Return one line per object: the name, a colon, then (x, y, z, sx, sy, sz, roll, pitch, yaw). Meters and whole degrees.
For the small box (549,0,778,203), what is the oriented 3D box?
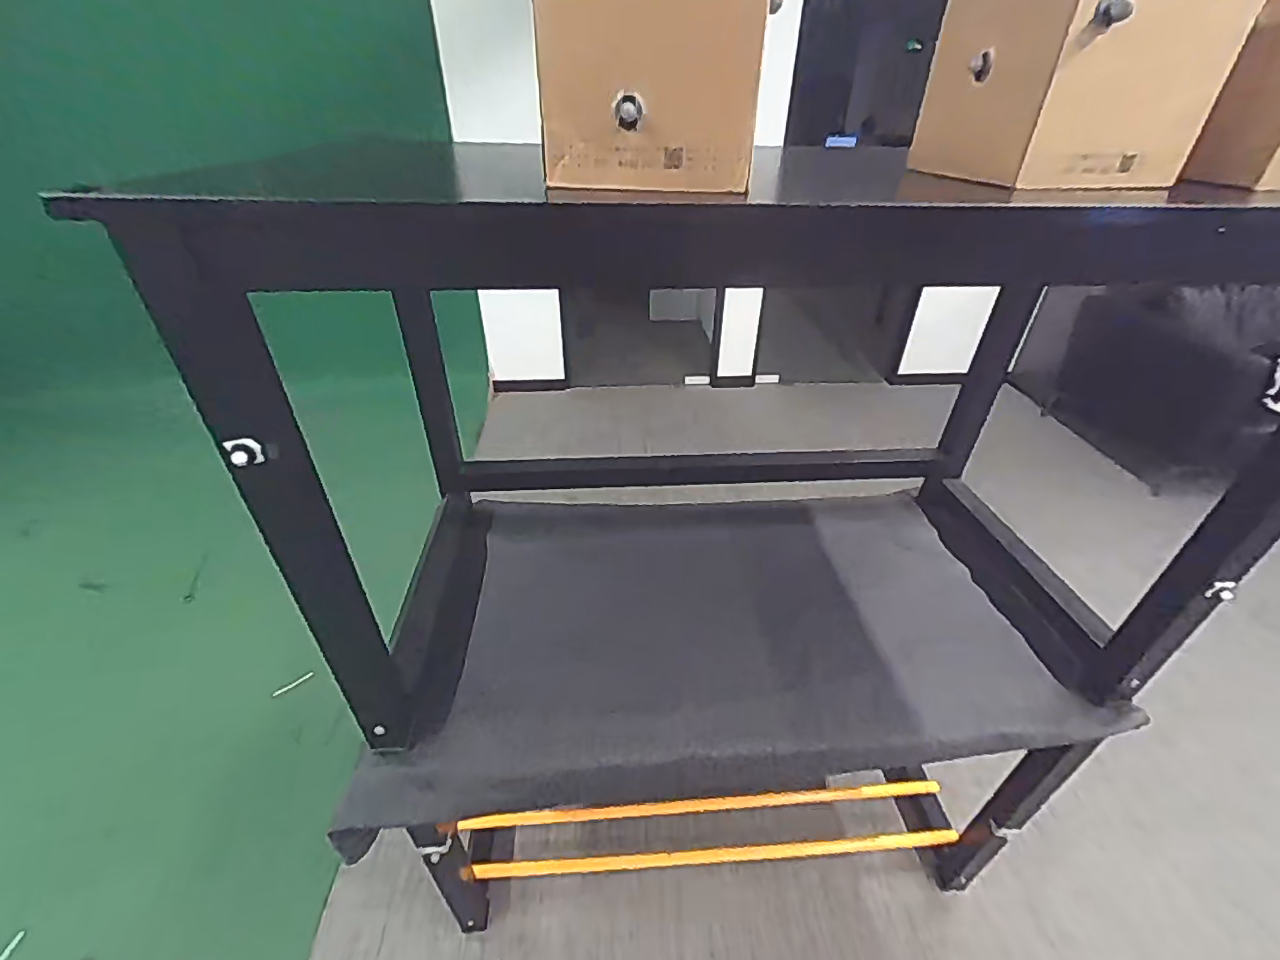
small box: (0.018, -0.348, 0.465, 0.168, 0.176, 0.179, 4, 35, 3)
